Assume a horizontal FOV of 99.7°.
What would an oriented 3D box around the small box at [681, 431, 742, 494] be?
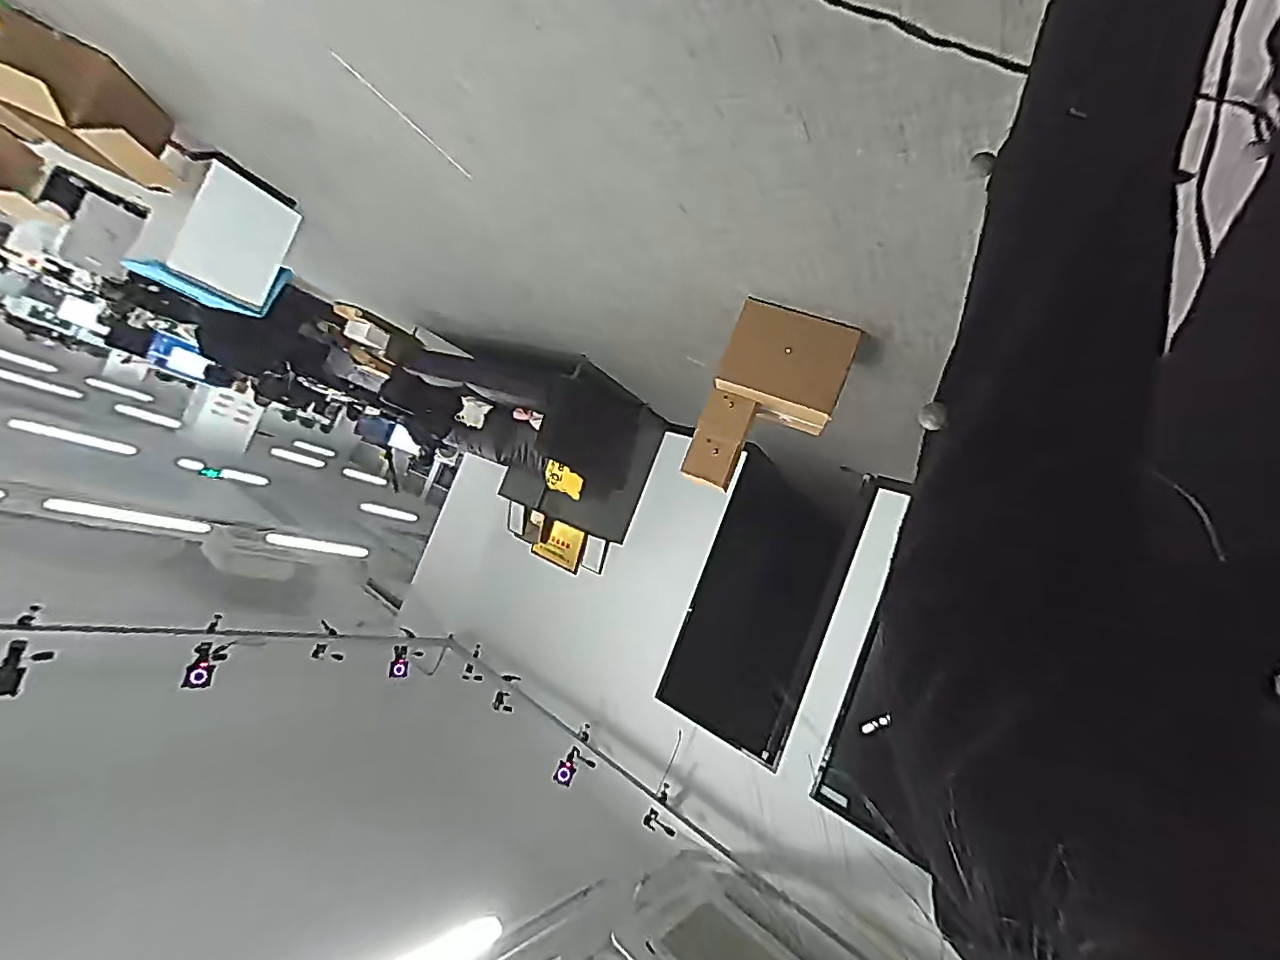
[{"bbox_3d":[0.269,-0.063,1.982,0.168,0.176,0.179,21,176,16],"label":"small box"}]
